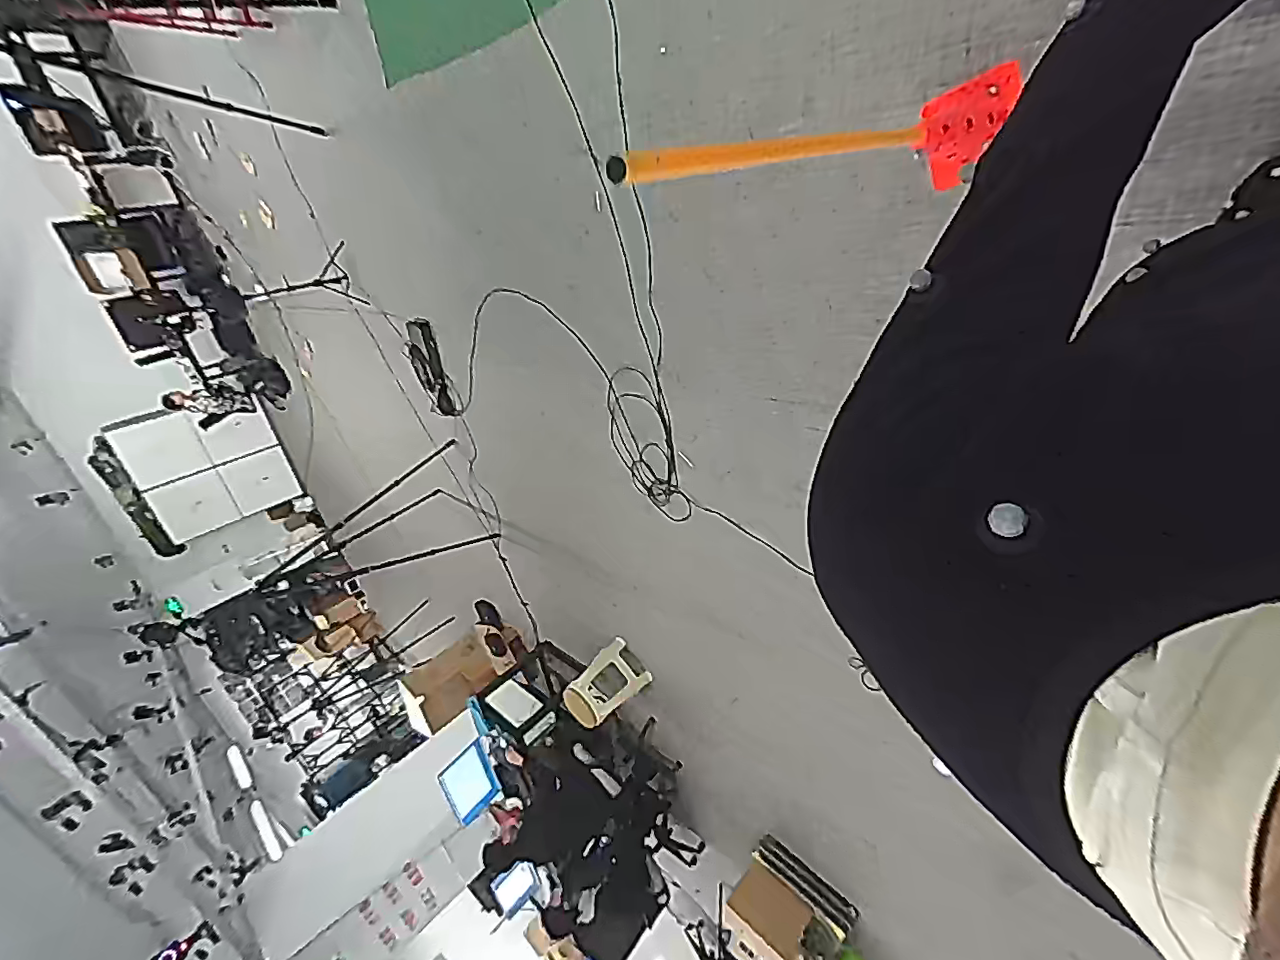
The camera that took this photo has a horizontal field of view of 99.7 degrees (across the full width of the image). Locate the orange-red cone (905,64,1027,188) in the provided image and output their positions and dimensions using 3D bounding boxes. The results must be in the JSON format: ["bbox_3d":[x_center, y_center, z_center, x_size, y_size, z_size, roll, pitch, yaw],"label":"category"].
[{"bbox_3d":[0.646,-0.729,1.139,0.199,0.360,0.198,1,115,50],"label":"orange-red cone"}]
